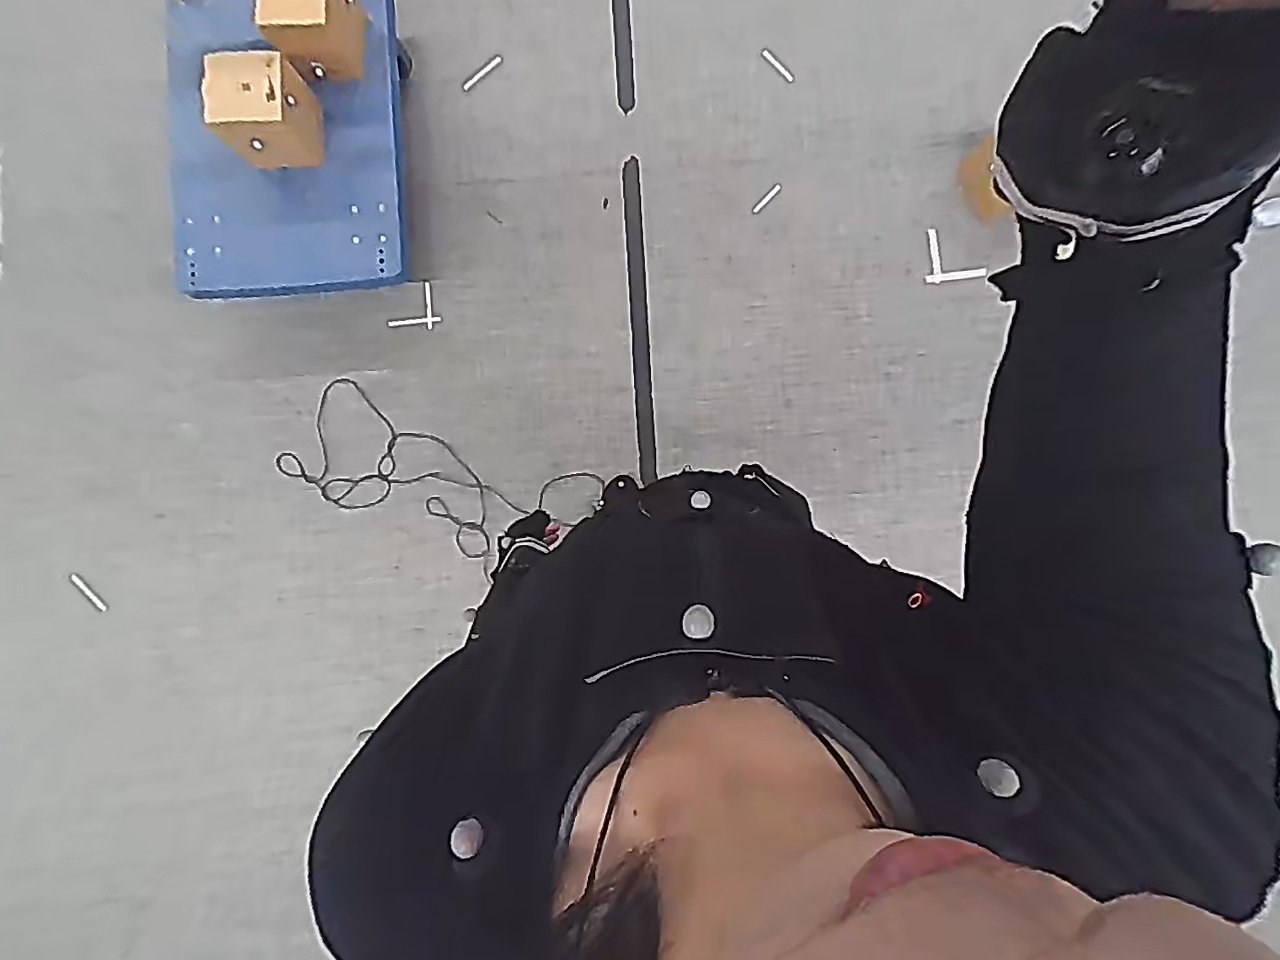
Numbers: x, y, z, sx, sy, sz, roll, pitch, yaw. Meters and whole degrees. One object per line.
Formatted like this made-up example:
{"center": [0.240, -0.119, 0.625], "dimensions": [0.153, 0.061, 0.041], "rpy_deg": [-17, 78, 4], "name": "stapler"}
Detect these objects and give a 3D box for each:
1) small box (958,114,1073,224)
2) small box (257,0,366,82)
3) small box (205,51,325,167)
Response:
{"center": [1.023, -0.849, 1.491], "dimensions": [0.168, 0.176, 0.179], "rpy_deg": [-23, 88, -1], "name": "small box"}
{"center": [-0.788, -1.115, 1.311], "dimensions": [0.168, 0.176, 0.179], "rpy_deg": [1, 89, 2], "name": "small box"}
{"center": [-0.895, -0.882, 1.301], "dimensions": [0.179, 0.176, 0.168], "rpy_deg": [-2, 89, 1], "name": "small box"}
